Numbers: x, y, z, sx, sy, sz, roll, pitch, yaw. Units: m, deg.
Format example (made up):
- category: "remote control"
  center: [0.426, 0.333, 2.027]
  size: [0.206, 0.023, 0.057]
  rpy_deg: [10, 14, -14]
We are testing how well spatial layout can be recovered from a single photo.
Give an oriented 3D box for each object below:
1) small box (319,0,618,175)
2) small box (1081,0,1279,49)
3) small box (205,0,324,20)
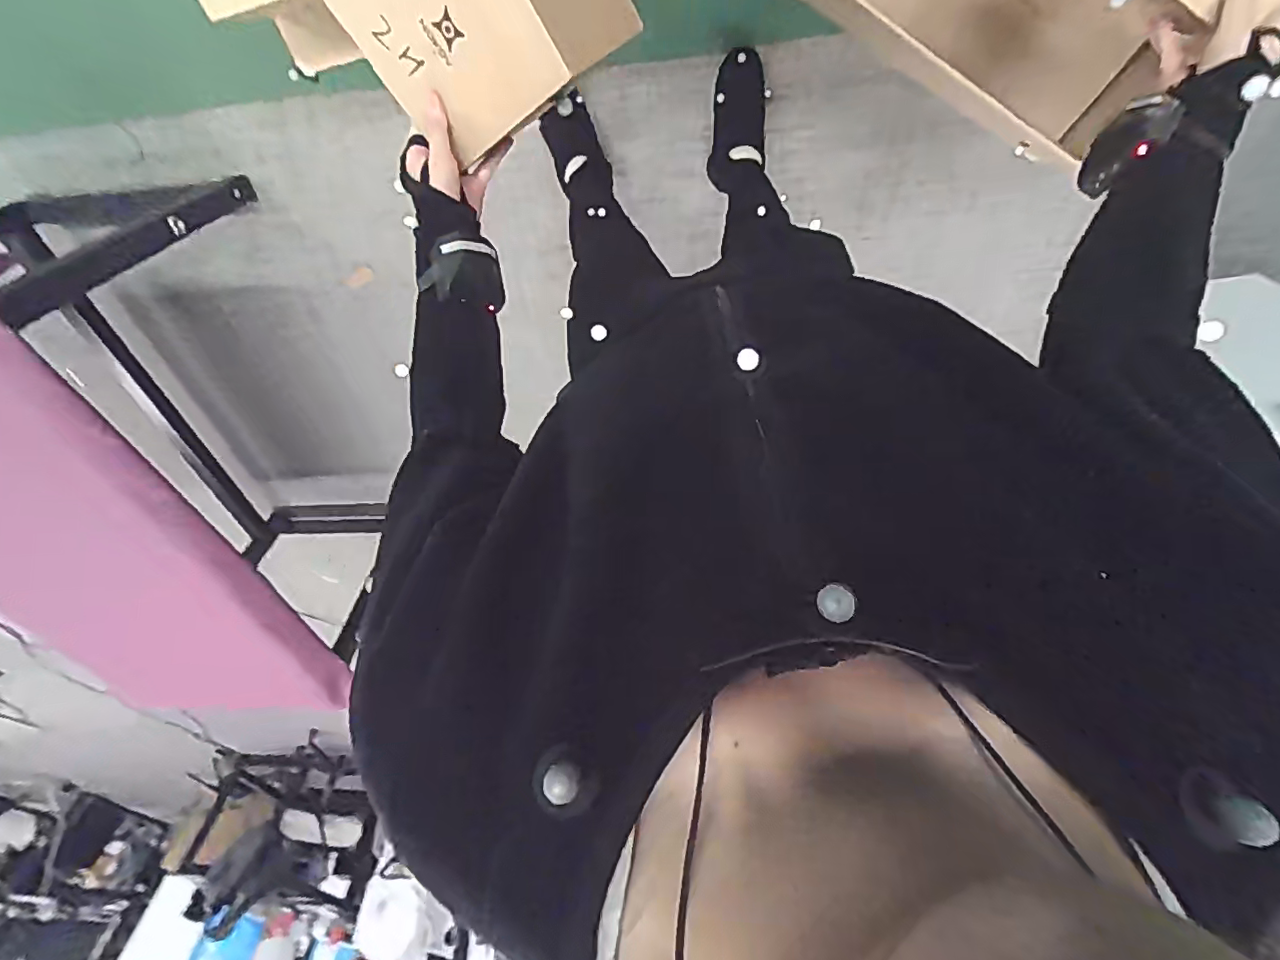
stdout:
- category: "small box"
  center: [-0.140, -0.429, 0.496]
  size: [0.179, 0.176, 0.168]
  rpy_deg: [-11, 130, 39]
- category: "small box"
  center: [0.469, -0.503, 0.447]
  size: [0.179, 0.176, 0.168]
  rpy_deg: [23, 132, -10]
- category: "small box"
  center: [-0.481, -0.720, 0.692]
  size: [0.168, 0.176, 0.179]
  rpy_deg: [-7, 131, 10]
